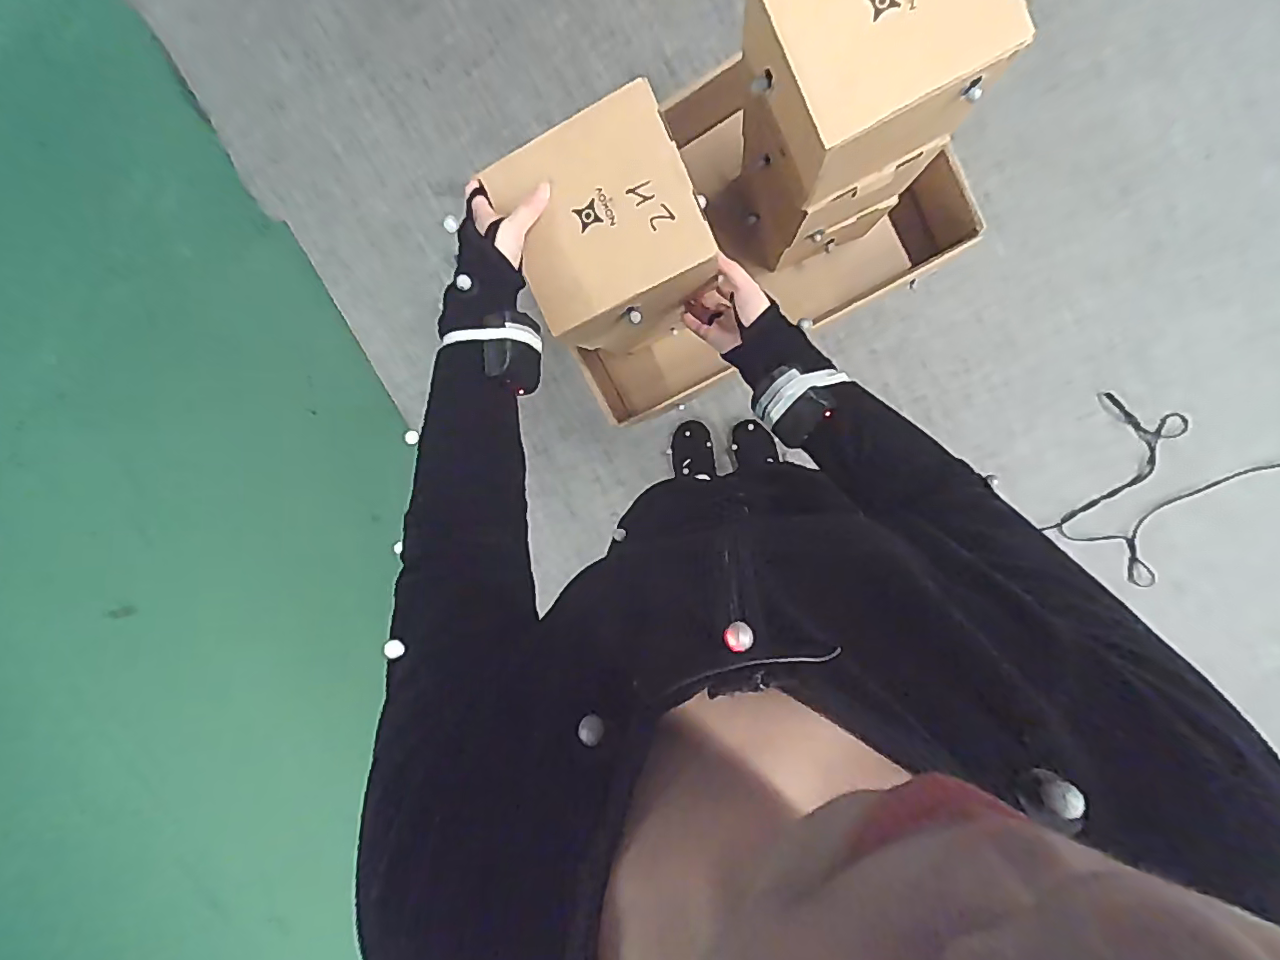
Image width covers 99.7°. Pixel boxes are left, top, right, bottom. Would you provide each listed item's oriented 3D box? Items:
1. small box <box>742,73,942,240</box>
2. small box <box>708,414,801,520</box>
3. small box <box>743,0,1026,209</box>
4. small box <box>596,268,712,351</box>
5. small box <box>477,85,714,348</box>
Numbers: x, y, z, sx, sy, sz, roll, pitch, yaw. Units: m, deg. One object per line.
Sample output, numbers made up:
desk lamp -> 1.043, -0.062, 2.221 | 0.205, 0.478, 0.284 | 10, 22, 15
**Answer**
small box -> 0.237, -0.424, 0.676 | 0.168, 0.176, 0.179 | -24, 95, 11
small box -> 0.294, -0.031, 1.381 | 0.168, 0.176, 0.179 | 28, 66, 30
small box -> 0.209, -0.396, 0.518 | 0.179, 0.176, 0.168 | -25, 95, 11
small box -> -0.009, -0.288, 0.735 | 0.168, 0.176, 0.179 | -26, 95, 11
small box -> -0.036, -0.256, 0.579 | 0.179, 0.176, 0.168 | -26, 96, 6
